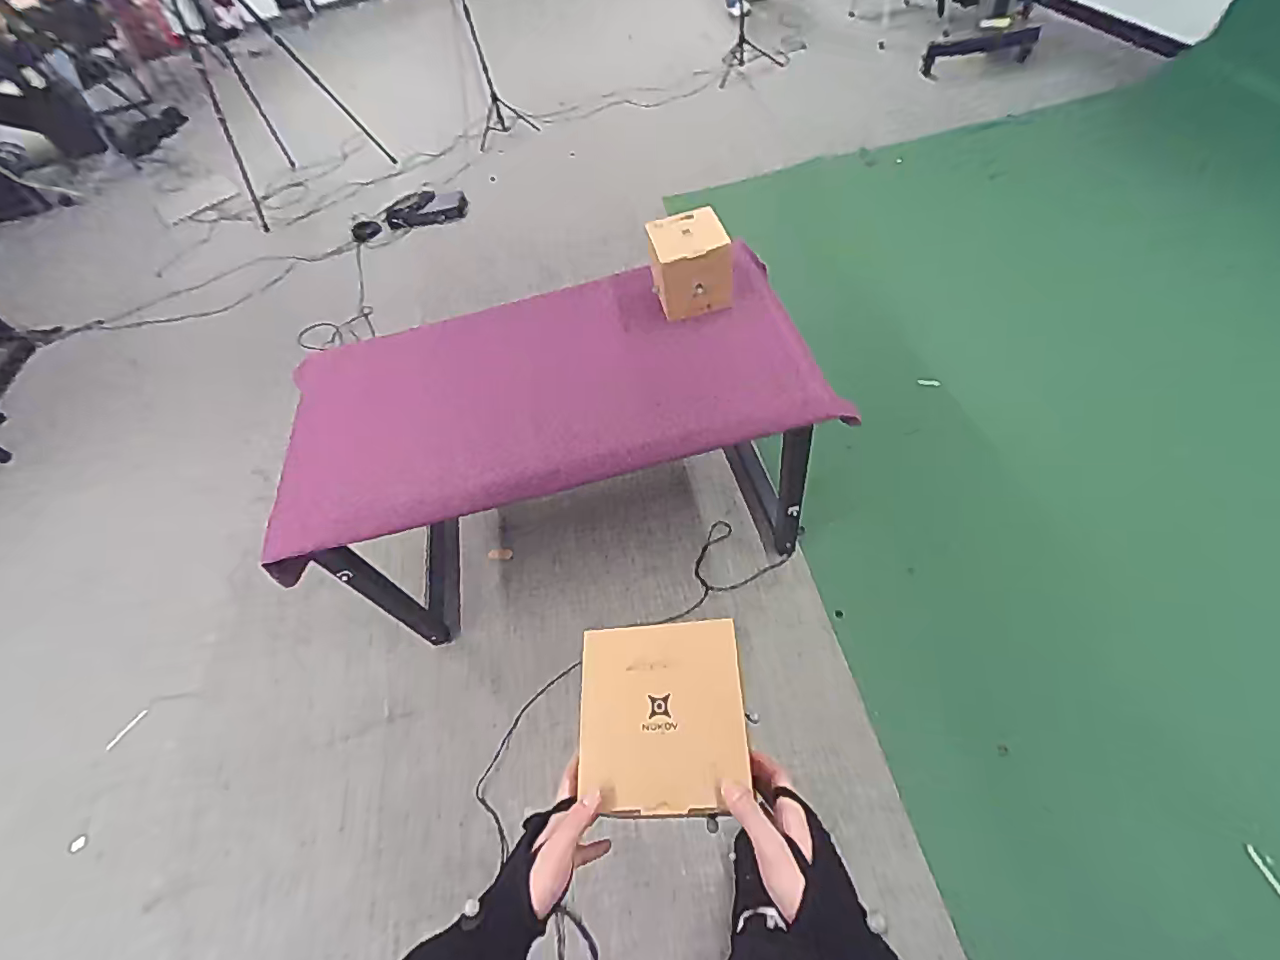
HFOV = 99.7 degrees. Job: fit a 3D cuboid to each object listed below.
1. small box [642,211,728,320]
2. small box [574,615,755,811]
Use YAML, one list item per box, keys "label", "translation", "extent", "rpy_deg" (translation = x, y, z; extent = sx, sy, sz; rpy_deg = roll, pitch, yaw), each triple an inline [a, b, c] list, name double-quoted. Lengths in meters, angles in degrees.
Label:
- label: "small box"
  translation: [0.112, -0.508, 1.307]
  extent: [0.168, 0.176, 0.179]
  rpy_deg: [-15, 54, 1]
- label: "small box"
  translation: [0.033, 0.266, 0.602]
  extent: [0.168, 0.176, 0.179]
  rpy_deg: [-7, 56, 9]
